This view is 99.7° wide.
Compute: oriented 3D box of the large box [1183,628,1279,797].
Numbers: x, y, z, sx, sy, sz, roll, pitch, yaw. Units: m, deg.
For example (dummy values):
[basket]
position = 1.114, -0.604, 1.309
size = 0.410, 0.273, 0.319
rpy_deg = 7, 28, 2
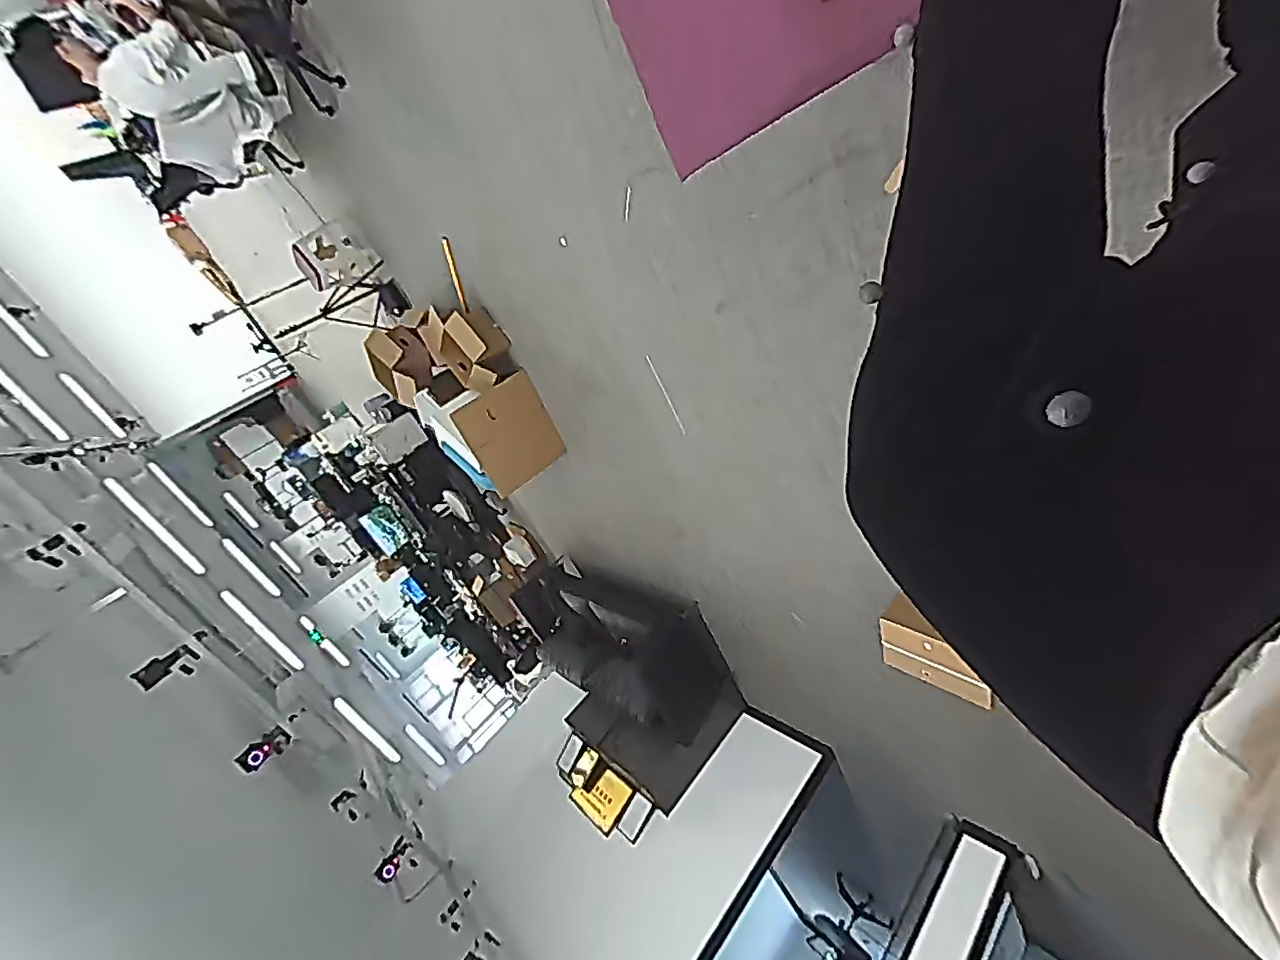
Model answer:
[large box]
position = 1.784, 0.599, 1.405
size = 0.320, 0.320, 0.408
rpy_deg = 45, 152, 5
